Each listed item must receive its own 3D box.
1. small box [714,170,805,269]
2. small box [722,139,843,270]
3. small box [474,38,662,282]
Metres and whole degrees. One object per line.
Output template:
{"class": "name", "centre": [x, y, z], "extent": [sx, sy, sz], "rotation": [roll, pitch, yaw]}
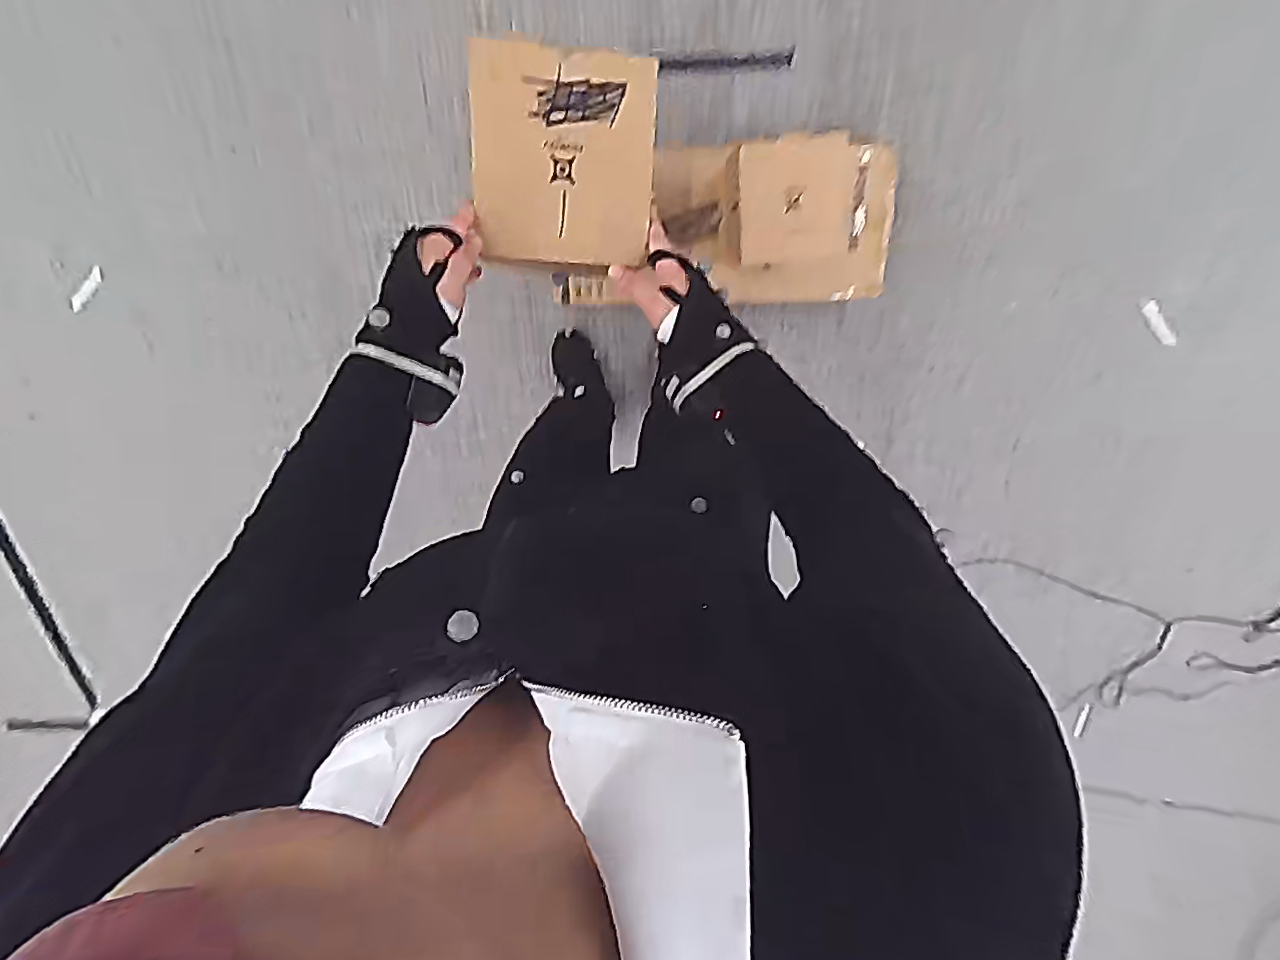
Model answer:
{"class": "small box", "centre": [0.243, -0.523, 1.078], "extent": [0.168, 0.176, 0.179], "rotation": [-4, 113, -1]}
{"class": "small box", "centre": [0.236, -0.462, 0.928], "extent": [0.168, 0.176, 0.179], "rotation": [-5, 112, 2]}
{"class": "small box", "centre": [-0.076, -0.310, 0.564], "extent": [0.168, 0.176, 0.179], "rotation": [1, 107, -8]}
